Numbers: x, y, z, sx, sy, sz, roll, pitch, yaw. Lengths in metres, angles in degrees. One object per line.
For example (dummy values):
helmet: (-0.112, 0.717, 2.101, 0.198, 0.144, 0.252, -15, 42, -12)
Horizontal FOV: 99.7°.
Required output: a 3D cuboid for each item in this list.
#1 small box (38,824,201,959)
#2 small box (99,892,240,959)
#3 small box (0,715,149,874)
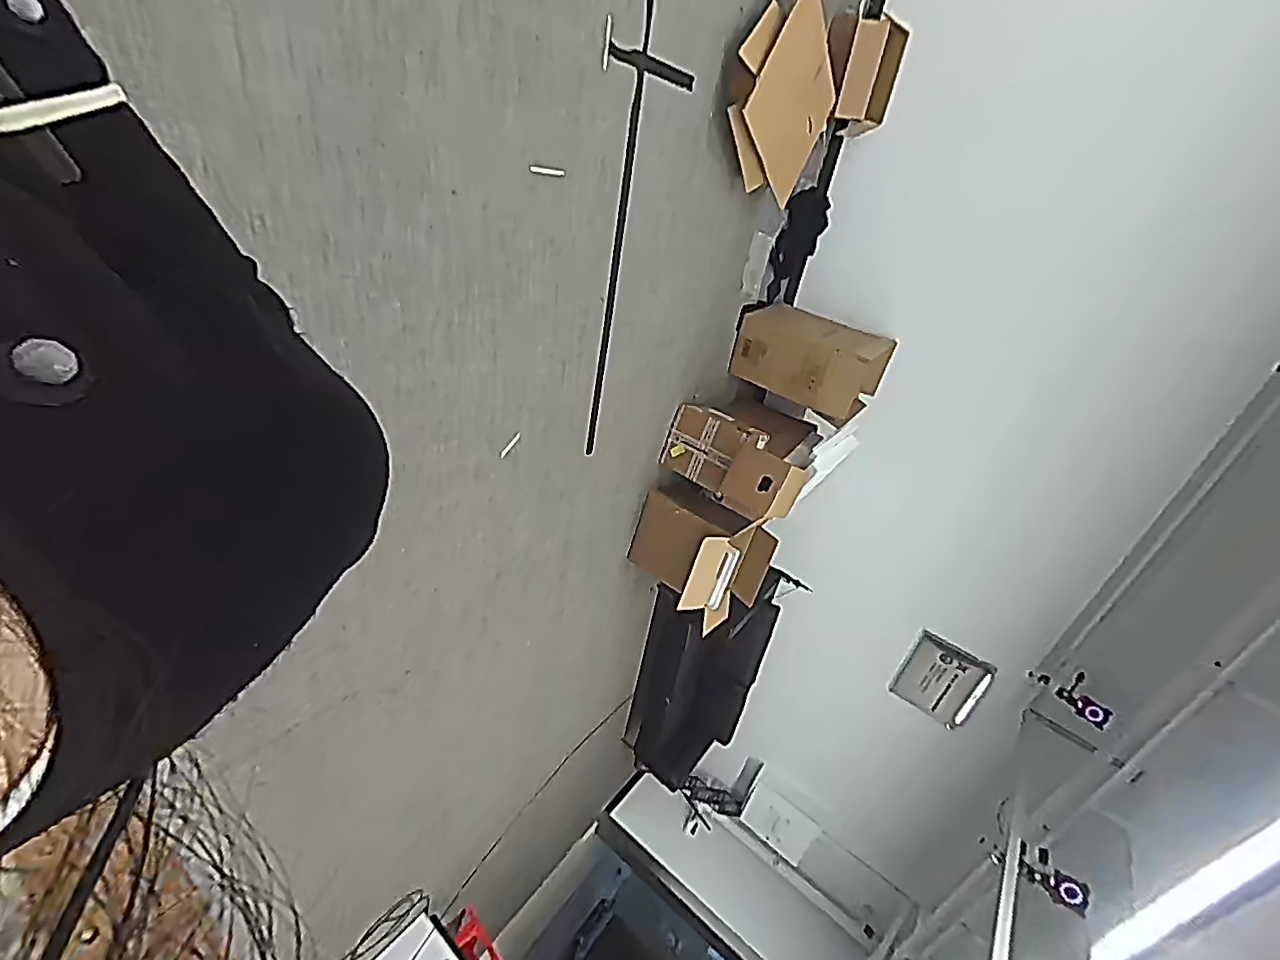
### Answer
small box: (-0.879, 0.751, 0.927, 0.179, 0.176, 0.168, -25, 135, -49)
small box: (-0.752, 0.820, 0.854, 0.179, 0.176, 0.168, -25, 134, -50)
small box: (-1.138, 0.612, 1.074, 0.179, 0.176, 0.168, -28, 137, -46)
